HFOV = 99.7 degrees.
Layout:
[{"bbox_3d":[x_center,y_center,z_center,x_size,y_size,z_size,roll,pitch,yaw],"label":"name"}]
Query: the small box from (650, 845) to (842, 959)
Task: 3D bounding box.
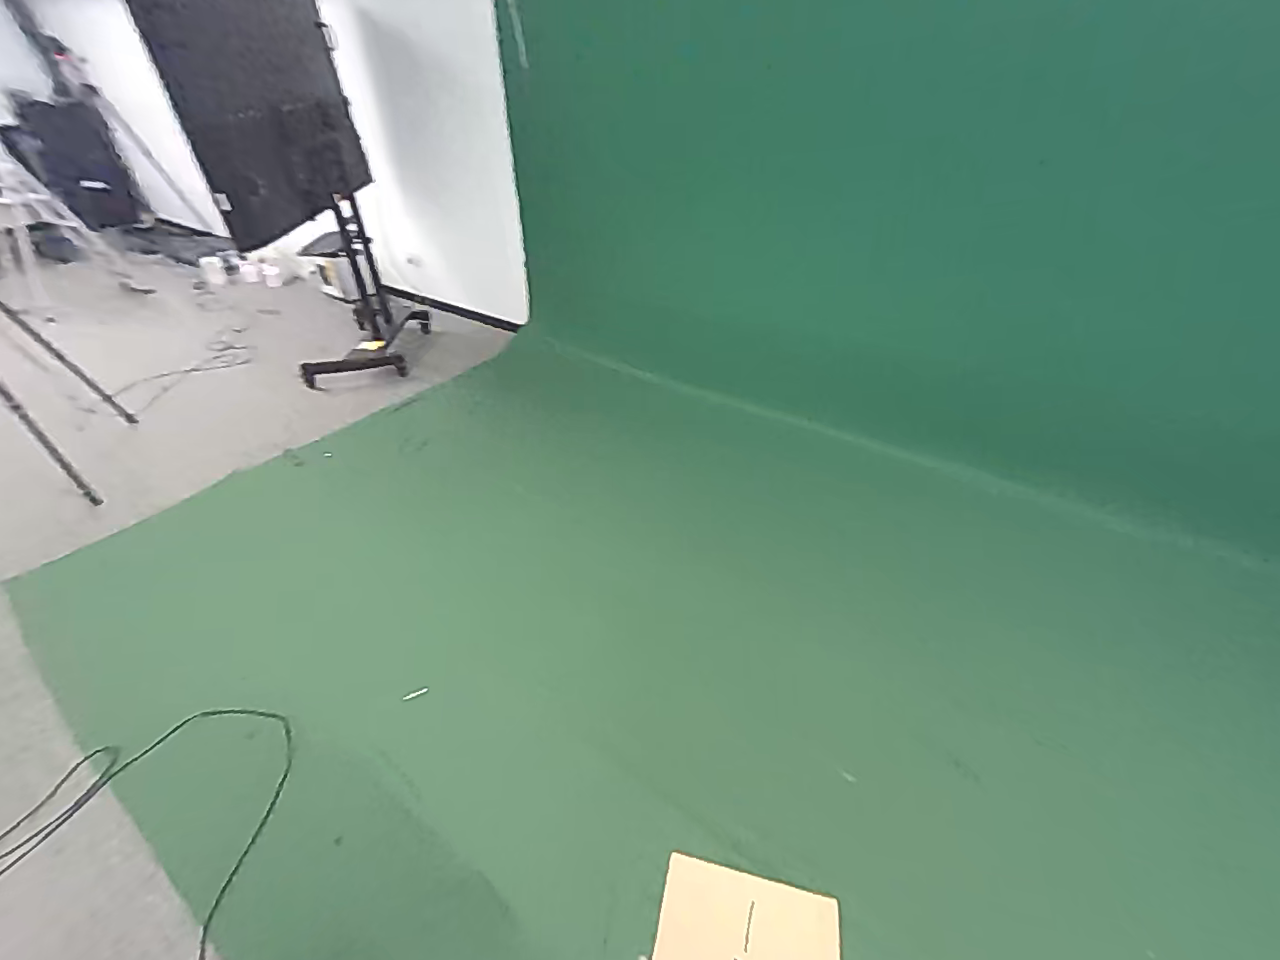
[{"bbox_3d":[0.090,0.496,0.514,0.168,0.176,0.179,10,39,11],"label":"small box"}]
